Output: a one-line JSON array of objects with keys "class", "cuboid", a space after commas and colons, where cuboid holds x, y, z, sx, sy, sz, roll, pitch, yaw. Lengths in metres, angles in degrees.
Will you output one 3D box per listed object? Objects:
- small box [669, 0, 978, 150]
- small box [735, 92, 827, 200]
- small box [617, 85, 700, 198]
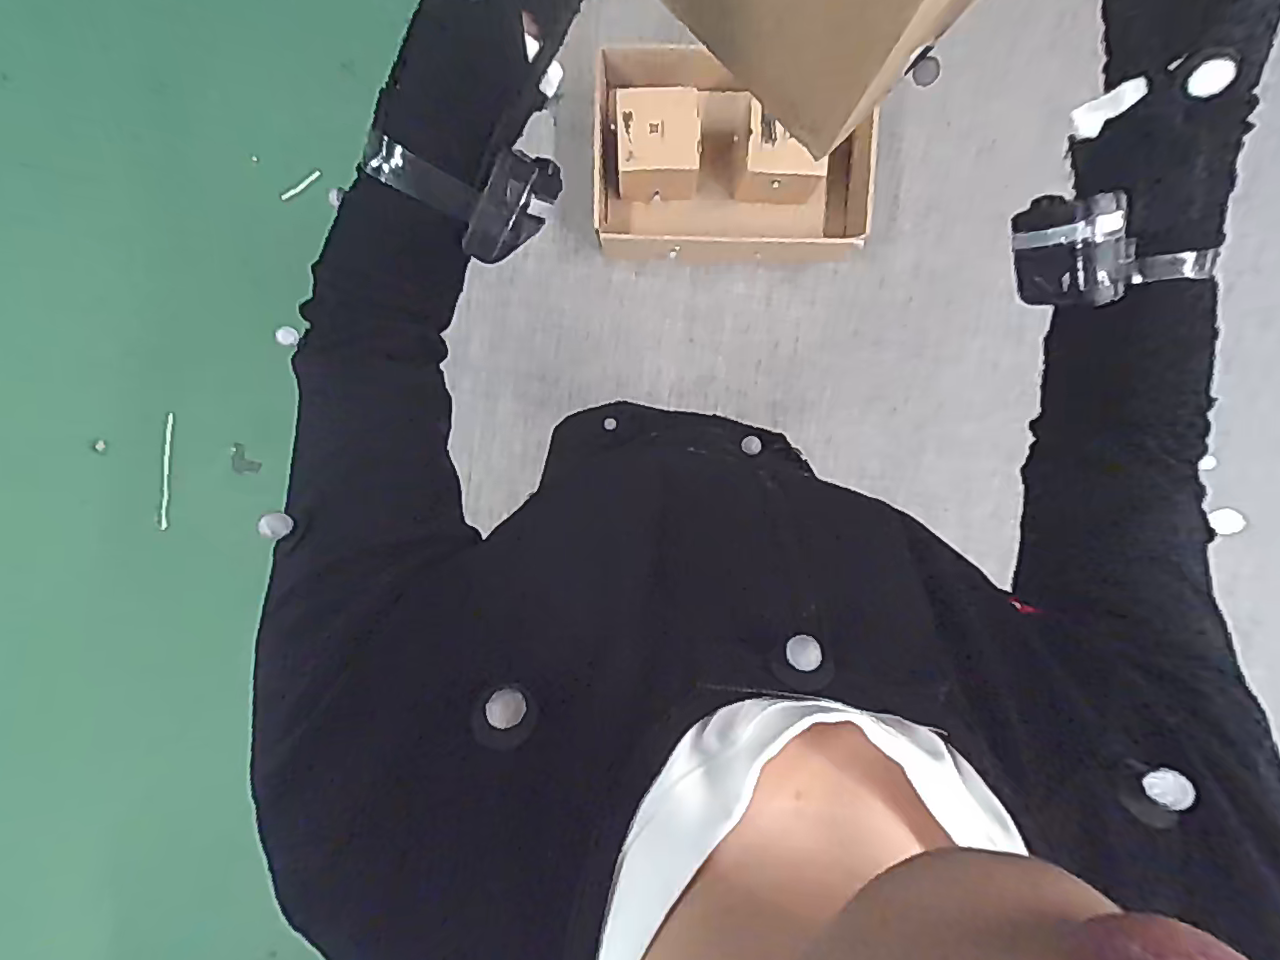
[{"class": "small box", "cuboid": [0.124, -0.337, 0.302, 0.179, 0.176, 0.168, 44, 95, -4]}, {"class": "small box", "cuboid": [0.318, -0.757, 1.233, 0.179, 0.176, 0.168, 3, 98, 0]}, {"class": "small box", "cuboid": [0.037, -0.762, 1.232, 0.179, 0.176, 0.168, -2, 97, -2]}]
